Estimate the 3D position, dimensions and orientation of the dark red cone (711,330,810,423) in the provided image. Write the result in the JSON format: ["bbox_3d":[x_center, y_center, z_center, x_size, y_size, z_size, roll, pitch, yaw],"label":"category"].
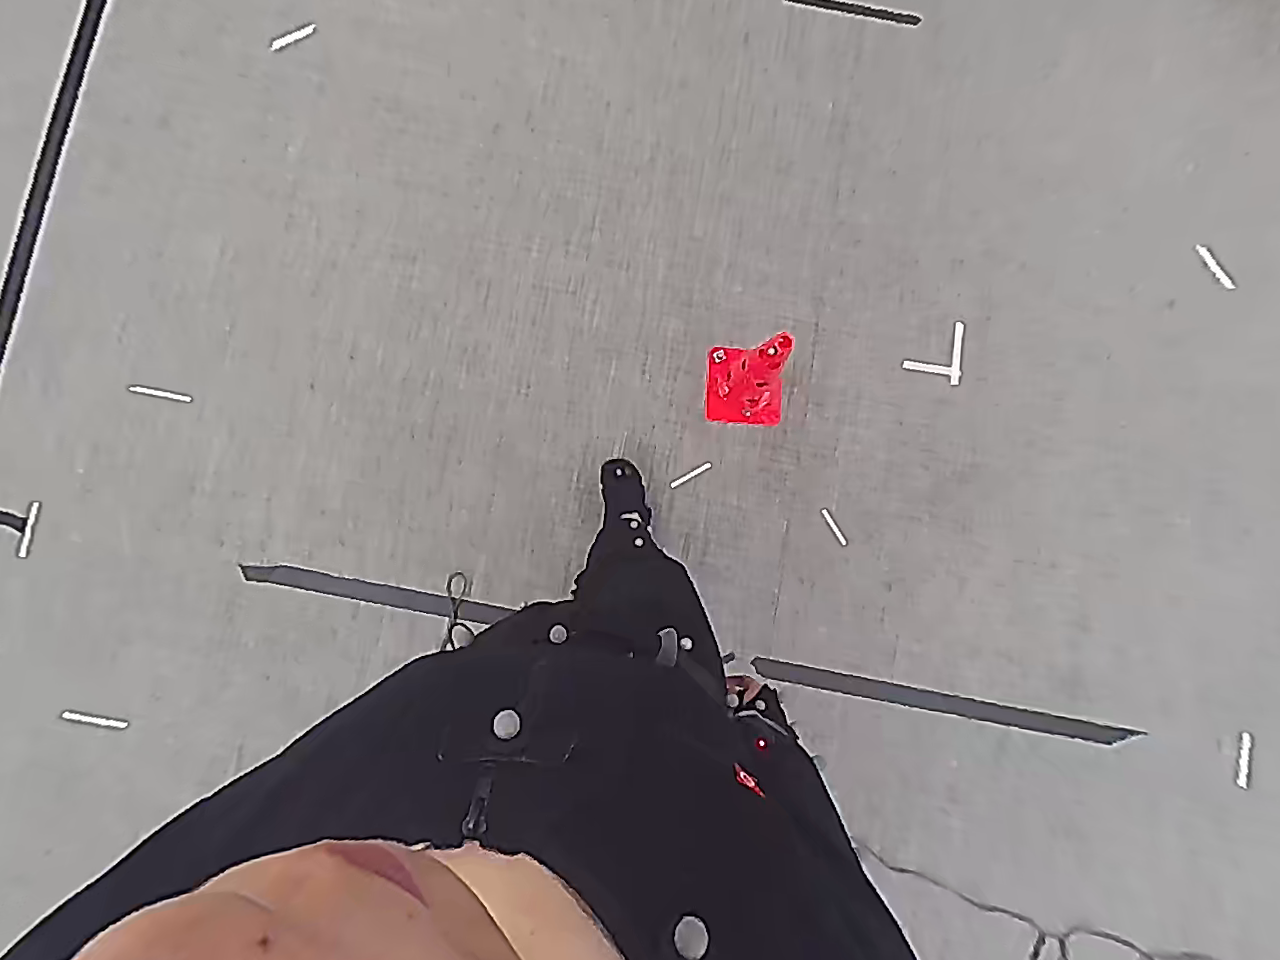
[{"bbox_3d":[0.288,-0.255,1.203,0.202,0.394,0.201,3,87,-2],"label":"dark red cone"}]
